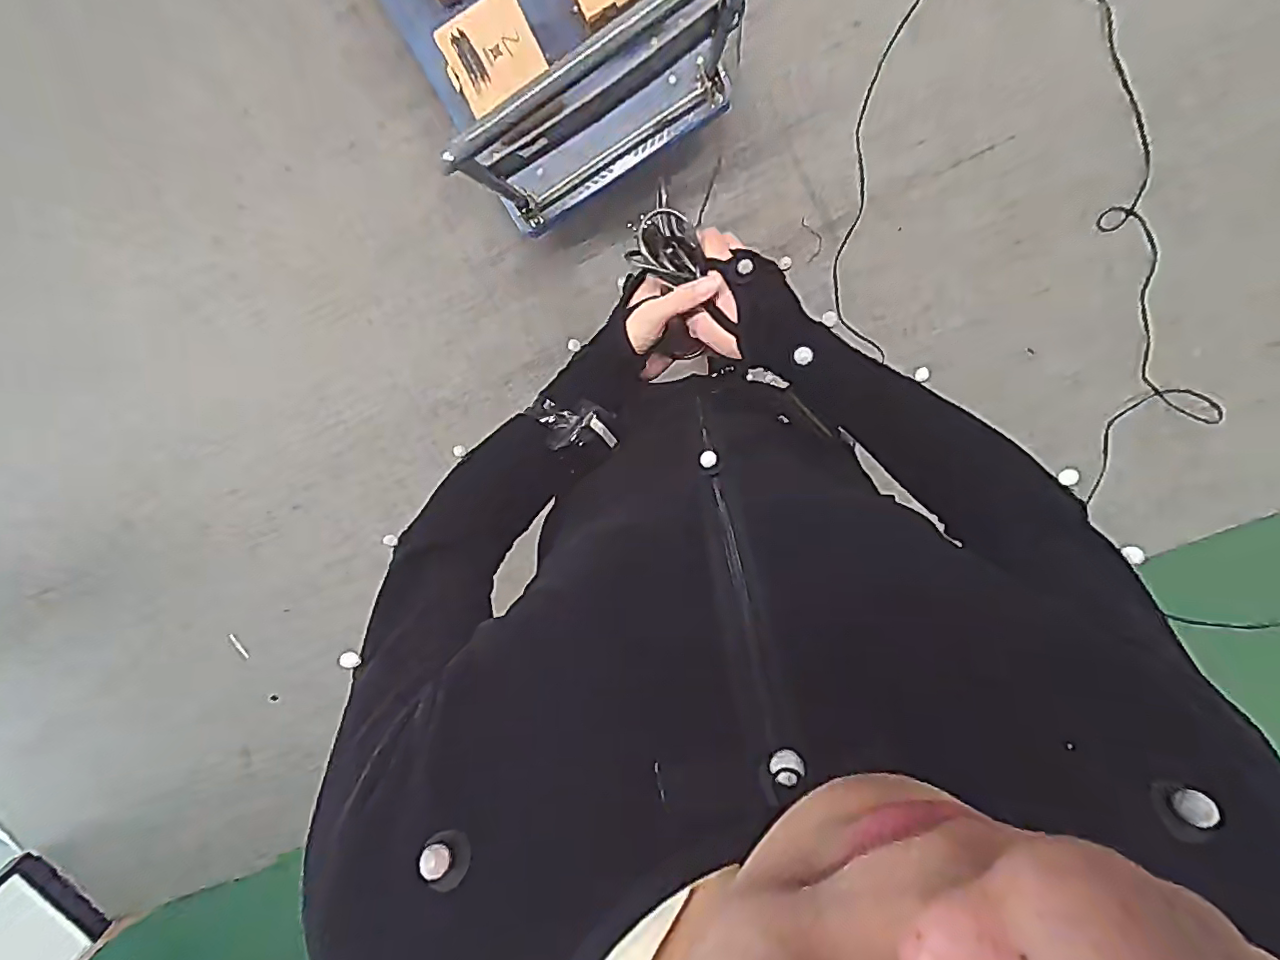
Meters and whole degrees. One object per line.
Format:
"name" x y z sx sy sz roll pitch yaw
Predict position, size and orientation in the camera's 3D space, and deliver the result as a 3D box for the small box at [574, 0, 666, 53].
"small box" -0.057 -0.998 1.058 0.168 0.176 0.179 -26 107 10
